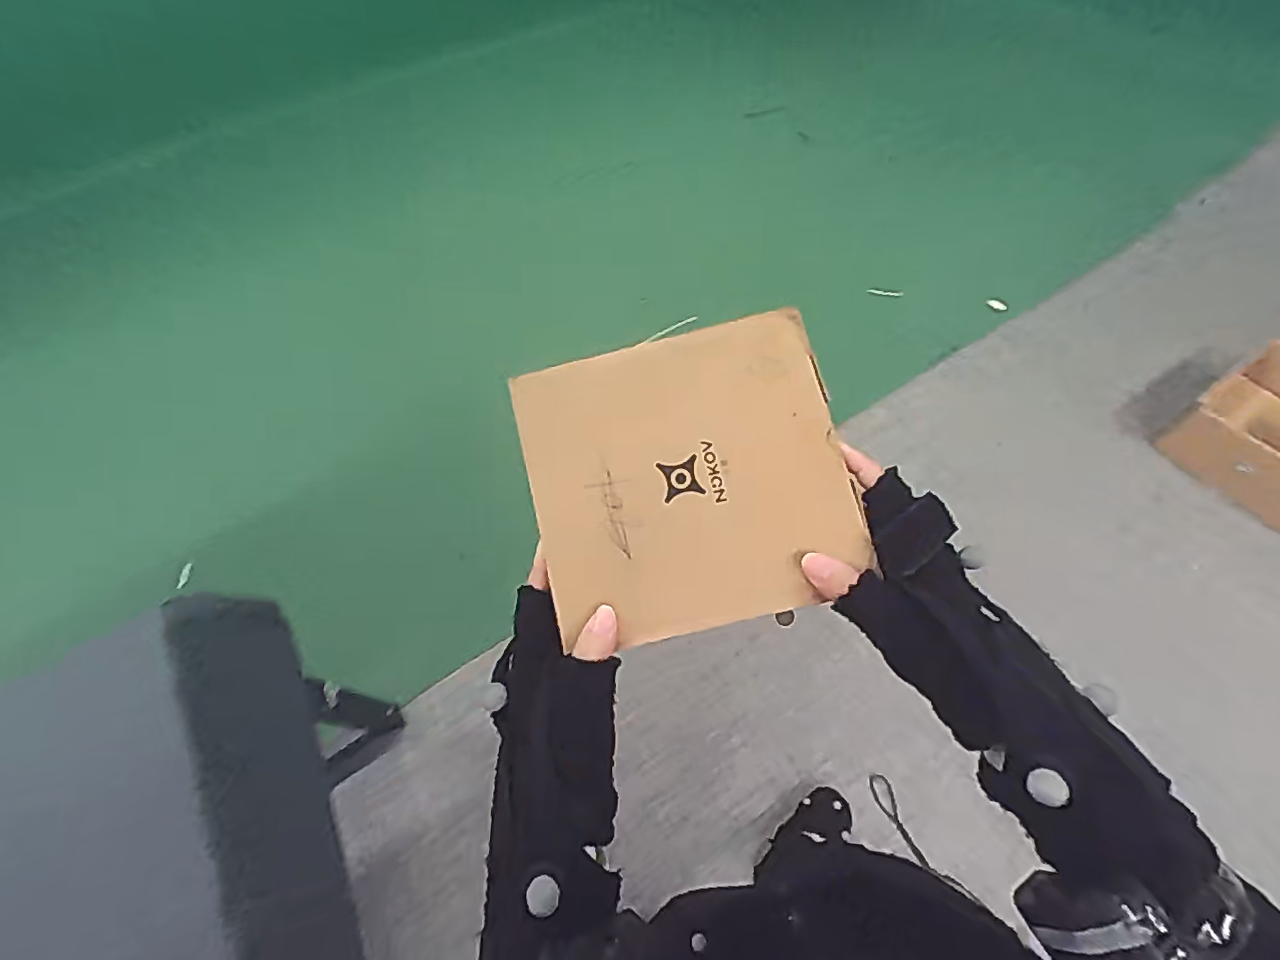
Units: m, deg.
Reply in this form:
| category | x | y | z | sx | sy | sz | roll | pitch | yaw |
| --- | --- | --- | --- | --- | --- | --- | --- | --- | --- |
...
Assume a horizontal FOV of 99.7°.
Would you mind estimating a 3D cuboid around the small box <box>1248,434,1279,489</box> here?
| category | x | y | z | sx | sy | sz | roll | pitch | yaw |
| --- | --- | --- | --- | --- | --- | --- | --- | --- | --- |
| small box | 1.754 | -0.063 | 1.390 | 0.179 | 0.176 | 0.168 | -32 | 63 | -15 |
